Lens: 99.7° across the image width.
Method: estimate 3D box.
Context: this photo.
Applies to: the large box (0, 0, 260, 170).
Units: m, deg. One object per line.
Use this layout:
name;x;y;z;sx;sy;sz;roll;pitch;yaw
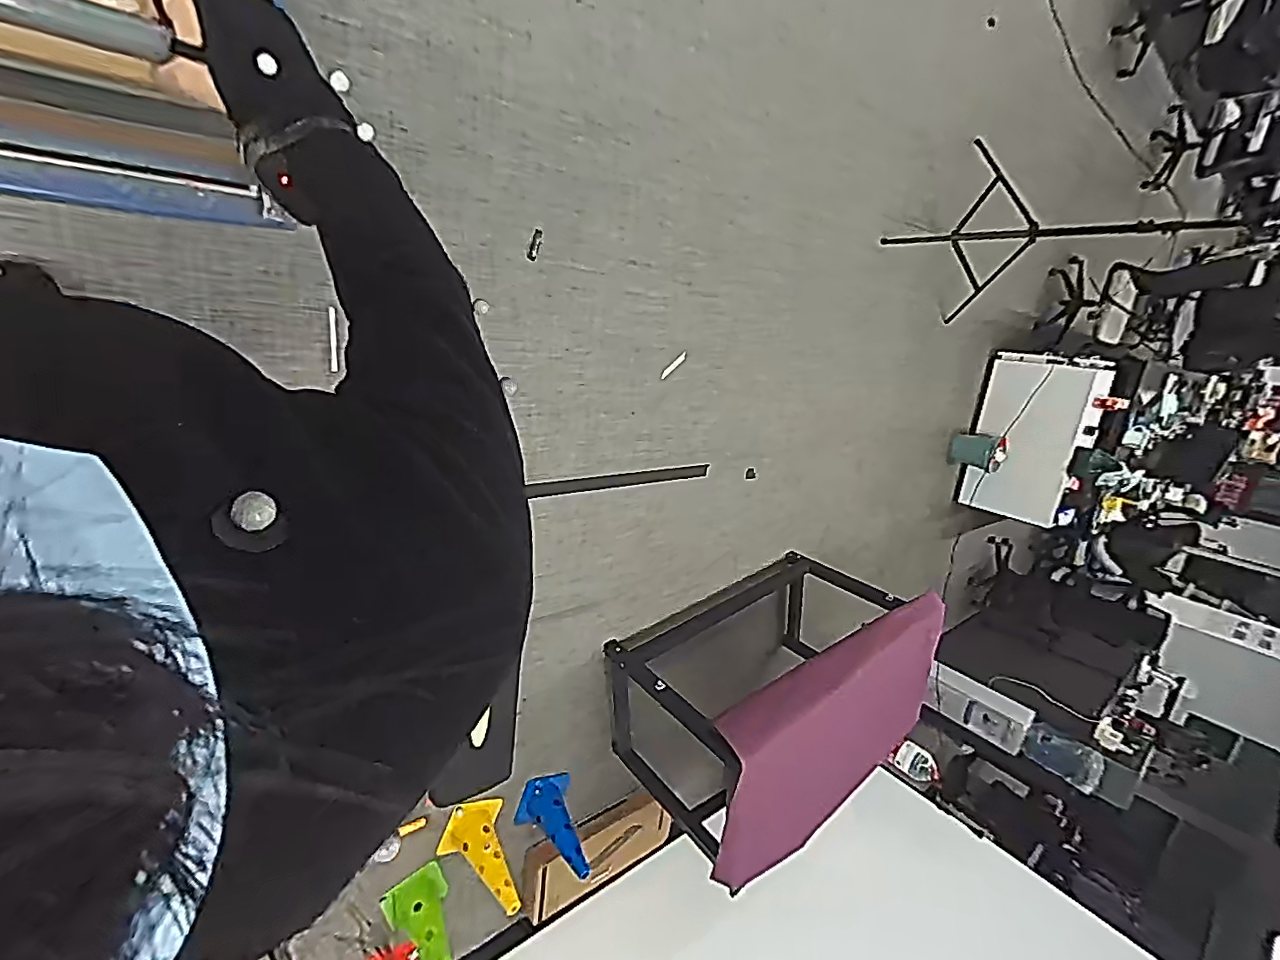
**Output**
large box;-0.759;-0.630;0.687;0.408;0.320;0.320;-9;111;-38
